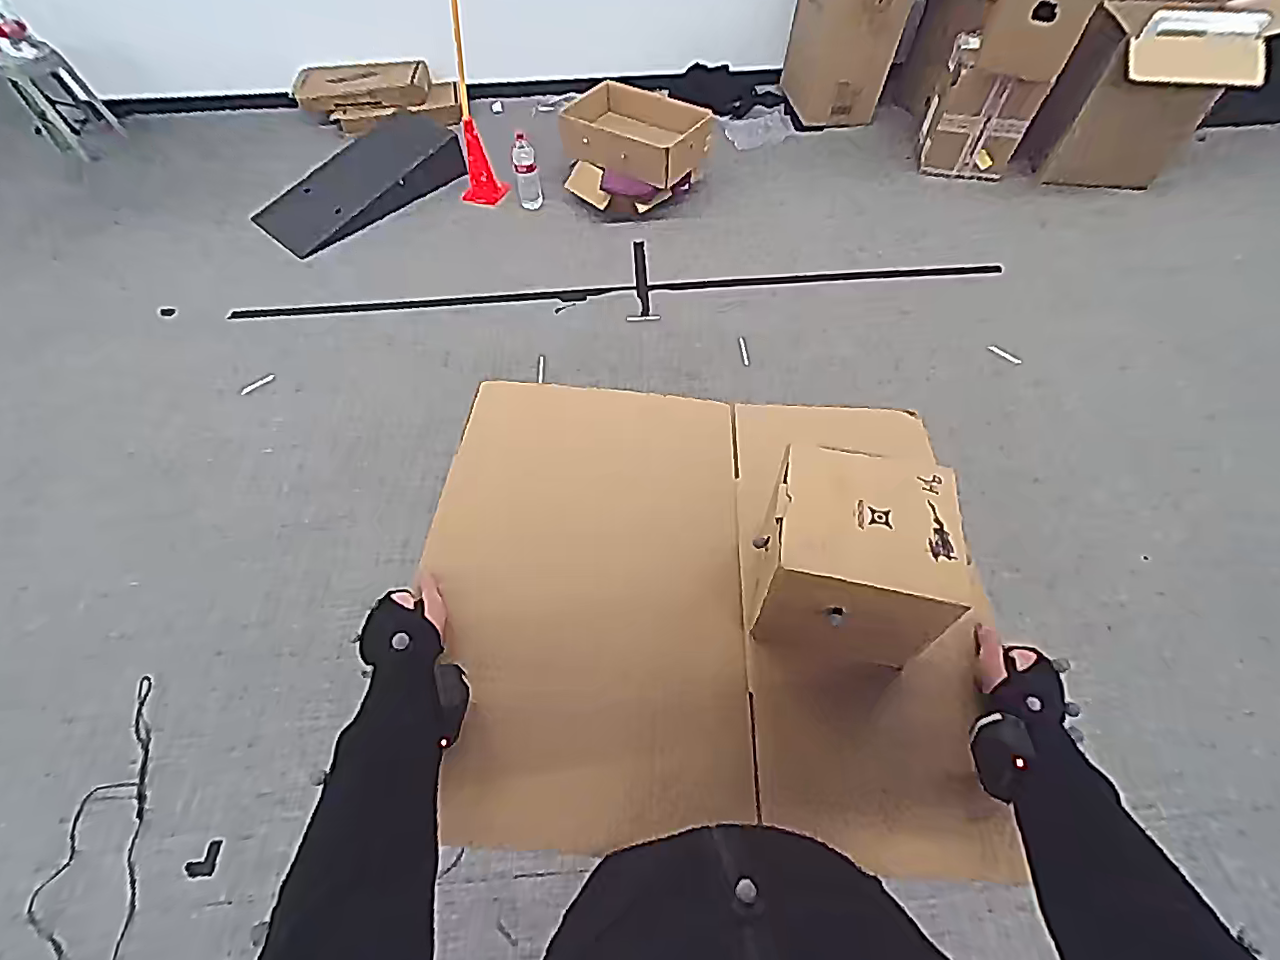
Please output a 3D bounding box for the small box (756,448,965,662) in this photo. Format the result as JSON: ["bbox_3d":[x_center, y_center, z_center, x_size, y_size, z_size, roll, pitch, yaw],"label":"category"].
[{"bbox_3d":[0.235,0.089,0.616,0.179,0.176,0.168,10,54,9],"label":"small box"}]
